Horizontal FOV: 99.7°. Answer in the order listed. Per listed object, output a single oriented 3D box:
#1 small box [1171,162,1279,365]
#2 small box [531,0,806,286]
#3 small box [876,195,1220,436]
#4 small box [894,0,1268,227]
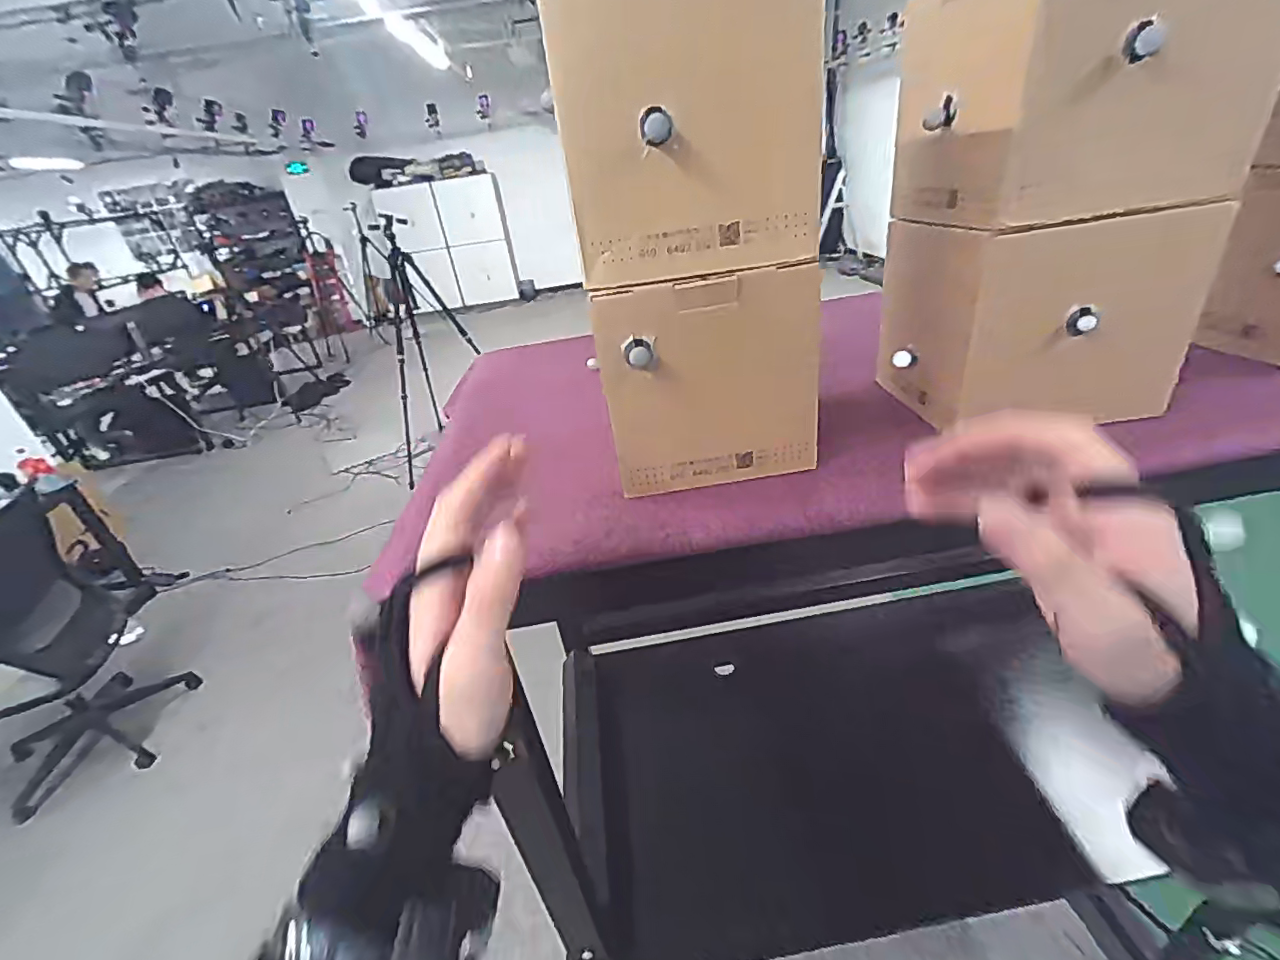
[{"bbox_3d":[0.653,-0.217,0.510,0.179,0.176,0.168,-8,30,2],"label":"small box"},{"bbox_3d":[0.026,-0.256,0.420,0.168,0.176,0.179,-8,28,3],"label":"small box"},{"bbox_3d":[0.334,-0.155,0.491,0.179,0.176,0.168,-8,29,4],"label":"small box"},{"bbox_3d":[0.315,-0.300,0.416,0.179,0.176,0.168,-9,30,1],"label":"small box"}]
